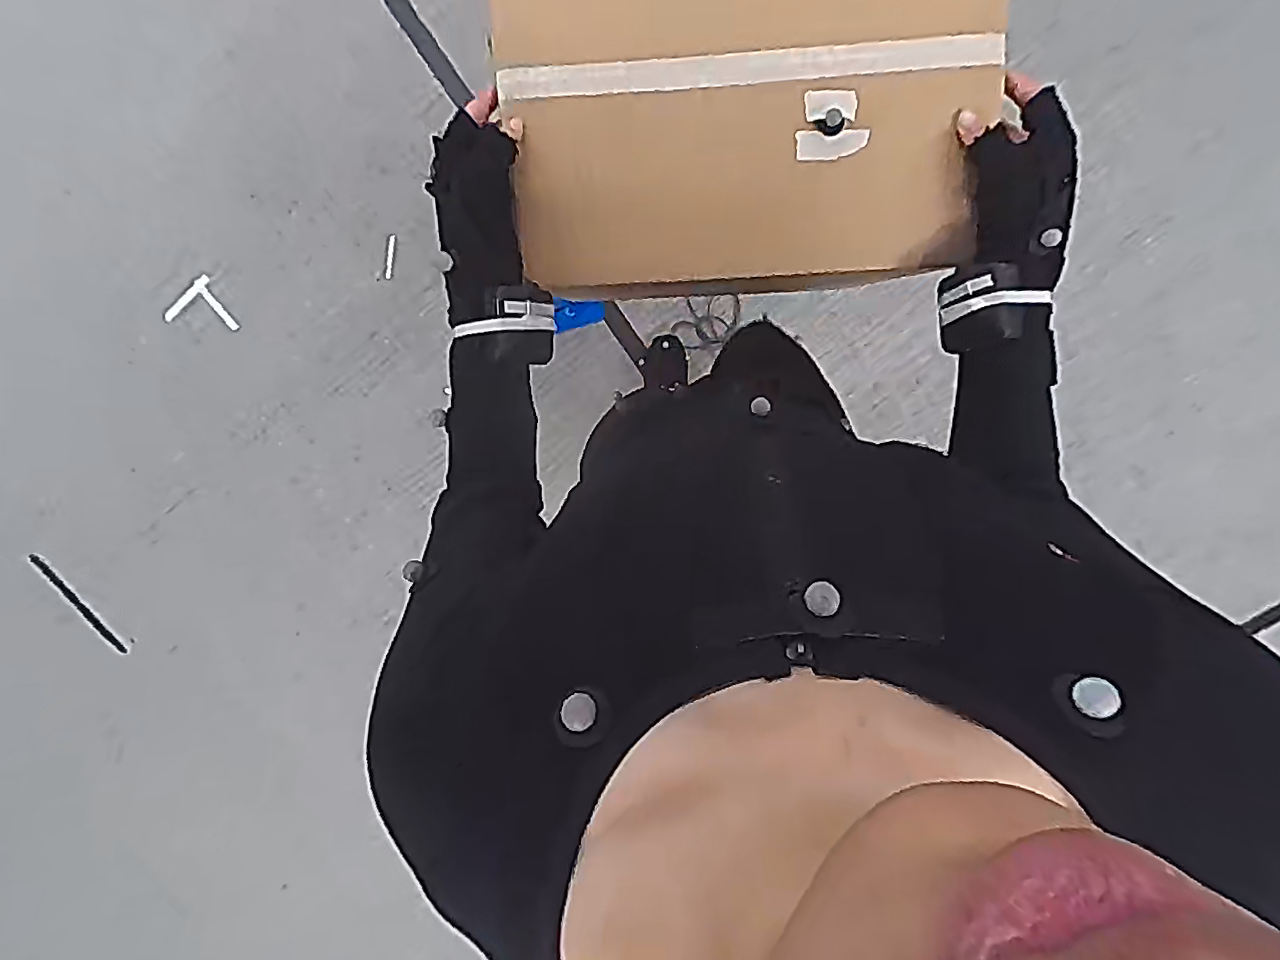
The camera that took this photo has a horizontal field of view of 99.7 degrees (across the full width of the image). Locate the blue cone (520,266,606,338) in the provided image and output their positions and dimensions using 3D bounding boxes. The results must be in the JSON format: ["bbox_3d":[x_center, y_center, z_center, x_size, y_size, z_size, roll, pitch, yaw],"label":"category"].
[{"bbox_3d":[-0.211,-0.453,1.249,0.193,0.380,0.192,-14,100,7],"label":"blue cone"}]

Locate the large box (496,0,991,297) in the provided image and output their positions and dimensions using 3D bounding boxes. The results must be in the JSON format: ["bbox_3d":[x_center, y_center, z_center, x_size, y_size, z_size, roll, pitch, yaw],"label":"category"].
[{"bbox_3d":[0.084,-0.382,0.590,0.408,0.320,0.320,-2,106,1],"label":"large box"}]
